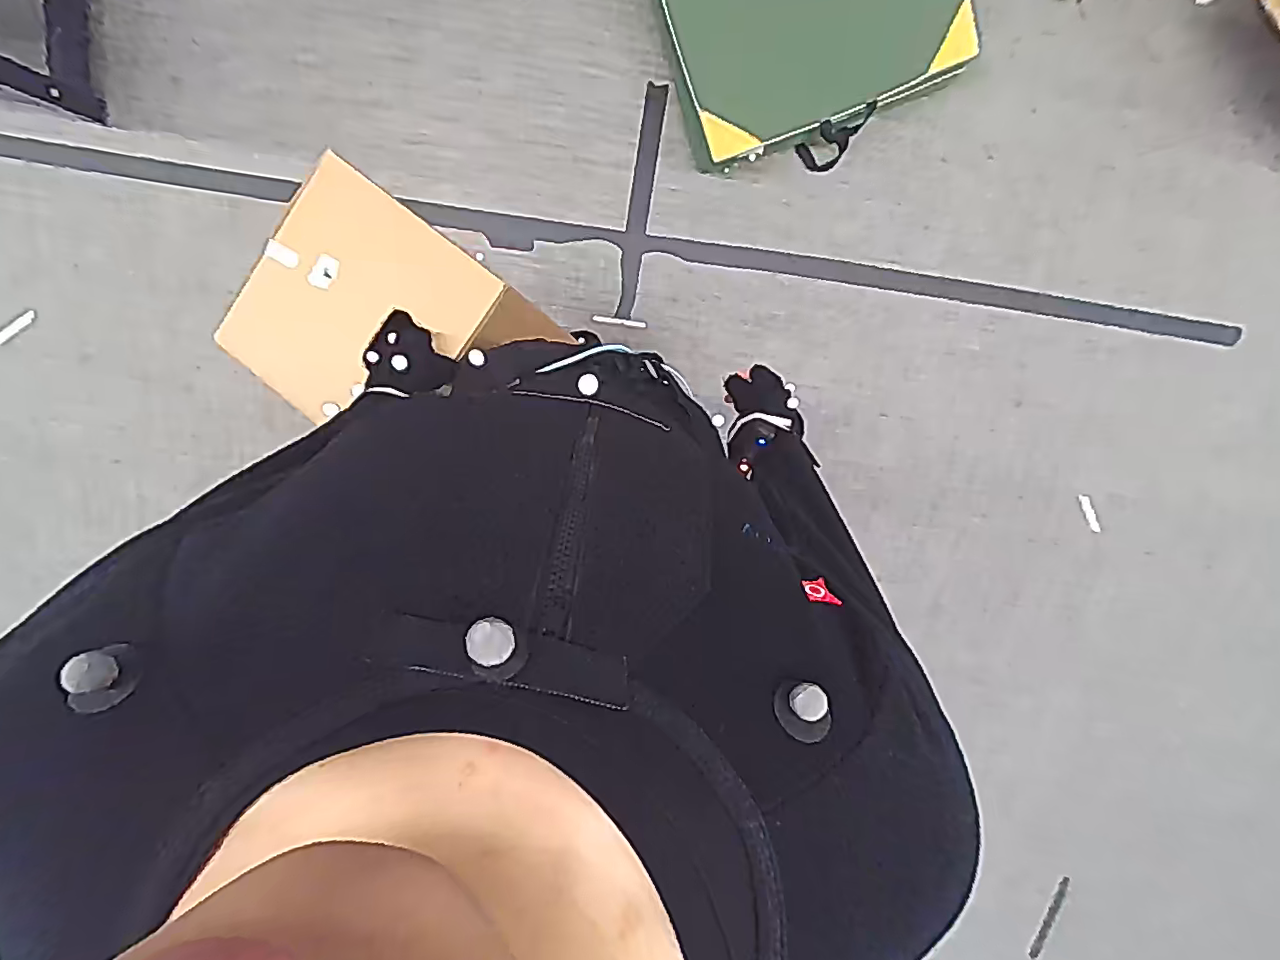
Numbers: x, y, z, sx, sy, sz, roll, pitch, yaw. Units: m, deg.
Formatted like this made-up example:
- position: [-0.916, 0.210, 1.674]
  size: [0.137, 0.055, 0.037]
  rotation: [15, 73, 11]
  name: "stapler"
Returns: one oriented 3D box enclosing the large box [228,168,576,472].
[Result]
- position: [-0.365, -0.237, 0.935]
  size: [0.320, 0.408, 0.320]
  rotation: [39, 98, 4]
  name: "large box"
